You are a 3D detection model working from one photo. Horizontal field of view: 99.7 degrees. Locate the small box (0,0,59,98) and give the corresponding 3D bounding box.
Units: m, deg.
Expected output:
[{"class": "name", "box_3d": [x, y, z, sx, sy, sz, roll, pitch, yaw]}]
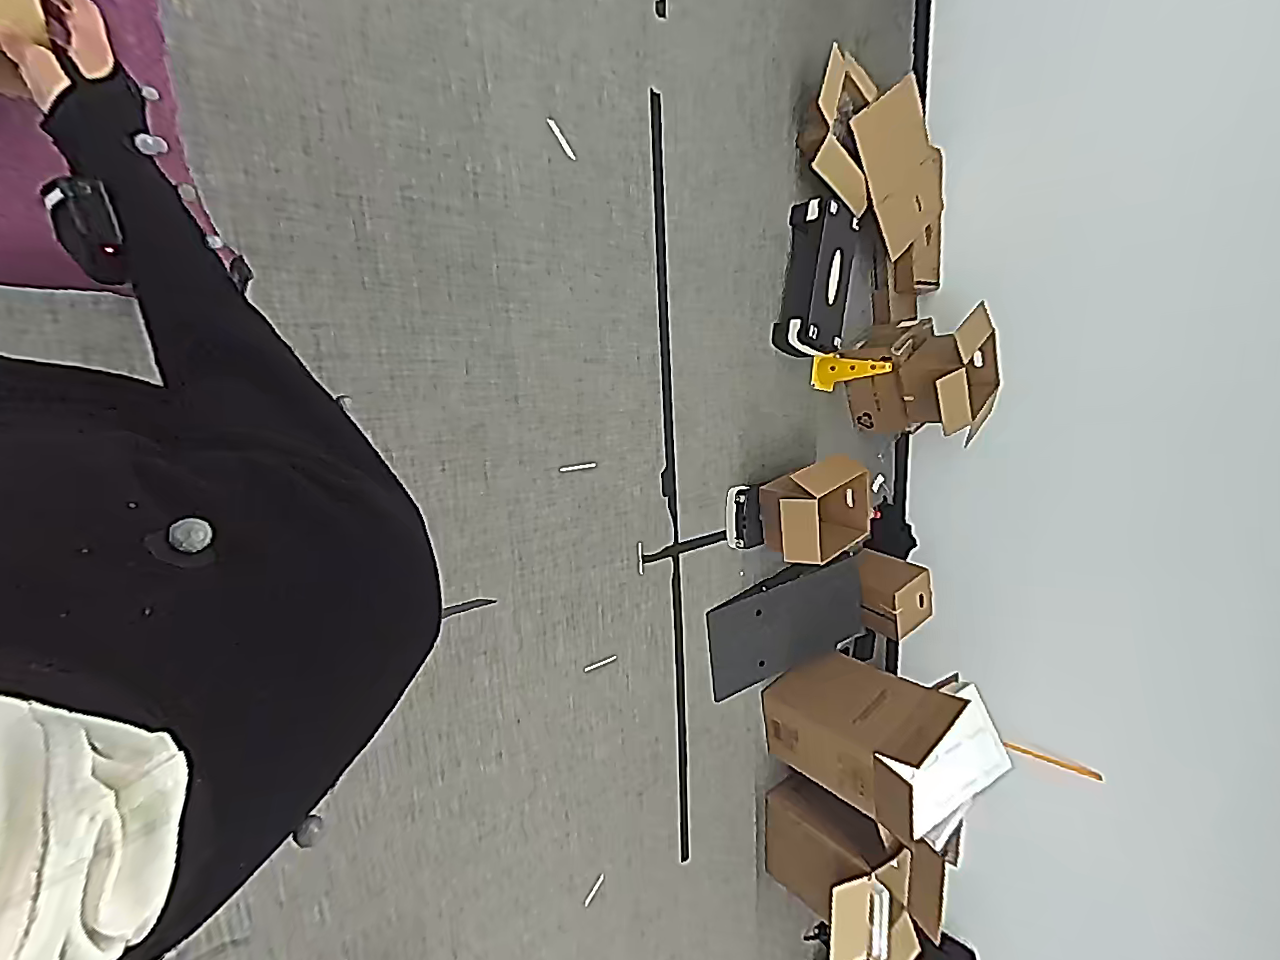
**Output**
[{"class": "small box", "box_3d": [-0.616, -0.434, 0.433, 0.179, 0.176, 0.168, -15, 116, -41]}]
